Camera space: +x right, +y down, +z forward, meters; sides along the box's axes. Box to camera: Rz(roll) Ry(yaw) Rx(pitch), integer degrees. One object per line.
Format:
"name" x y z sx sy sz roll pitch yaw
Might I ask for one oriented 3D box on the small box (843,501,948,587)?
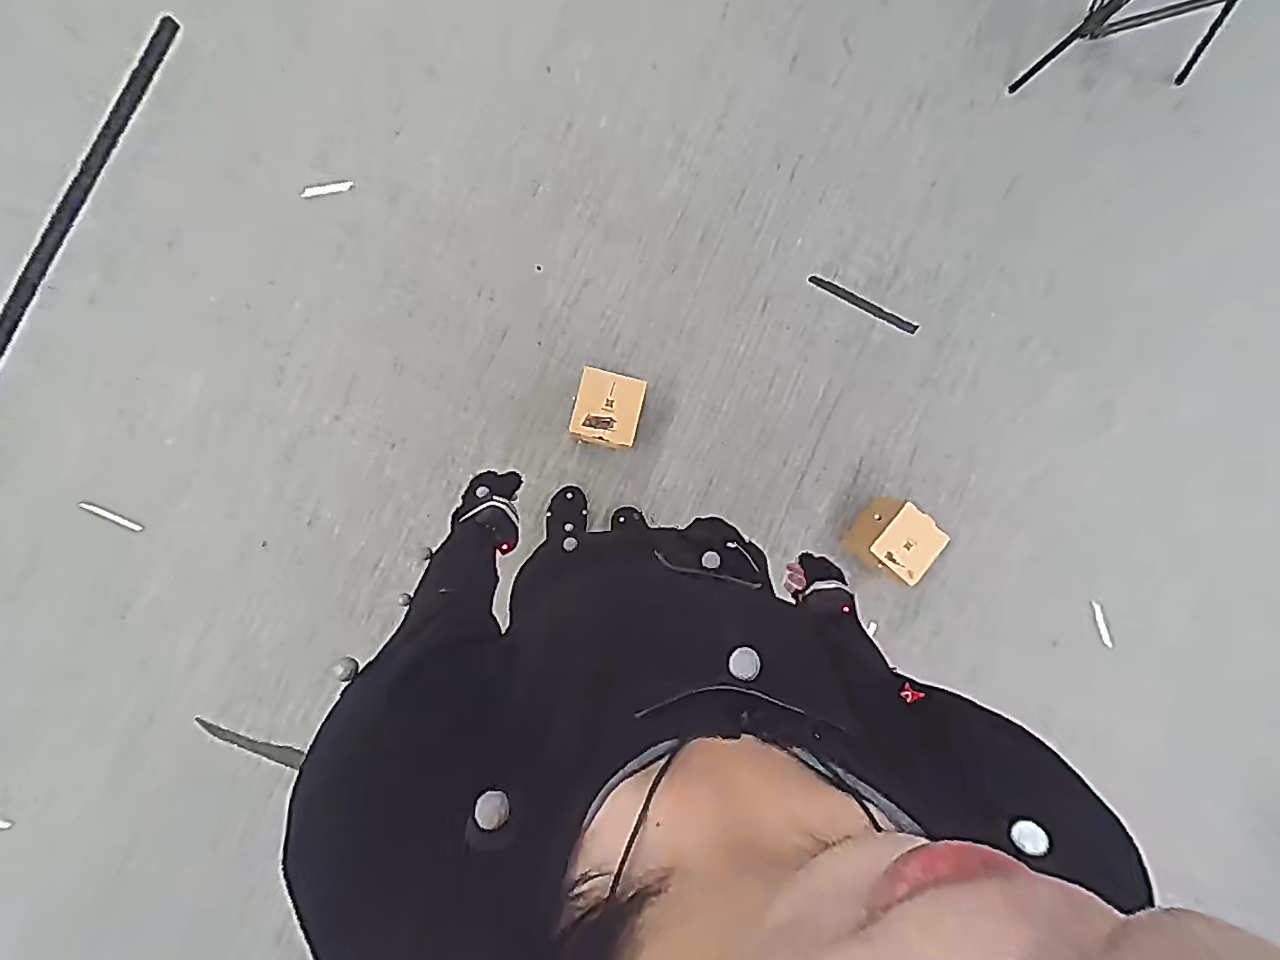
"small box" 0.715 0.172 1.534 0.168 0.176 0.179 41 85 -5

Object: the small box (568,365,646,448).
"small box" -0.089 -0.187 1.443 0.168 0.176 0.179 14 88 -6
